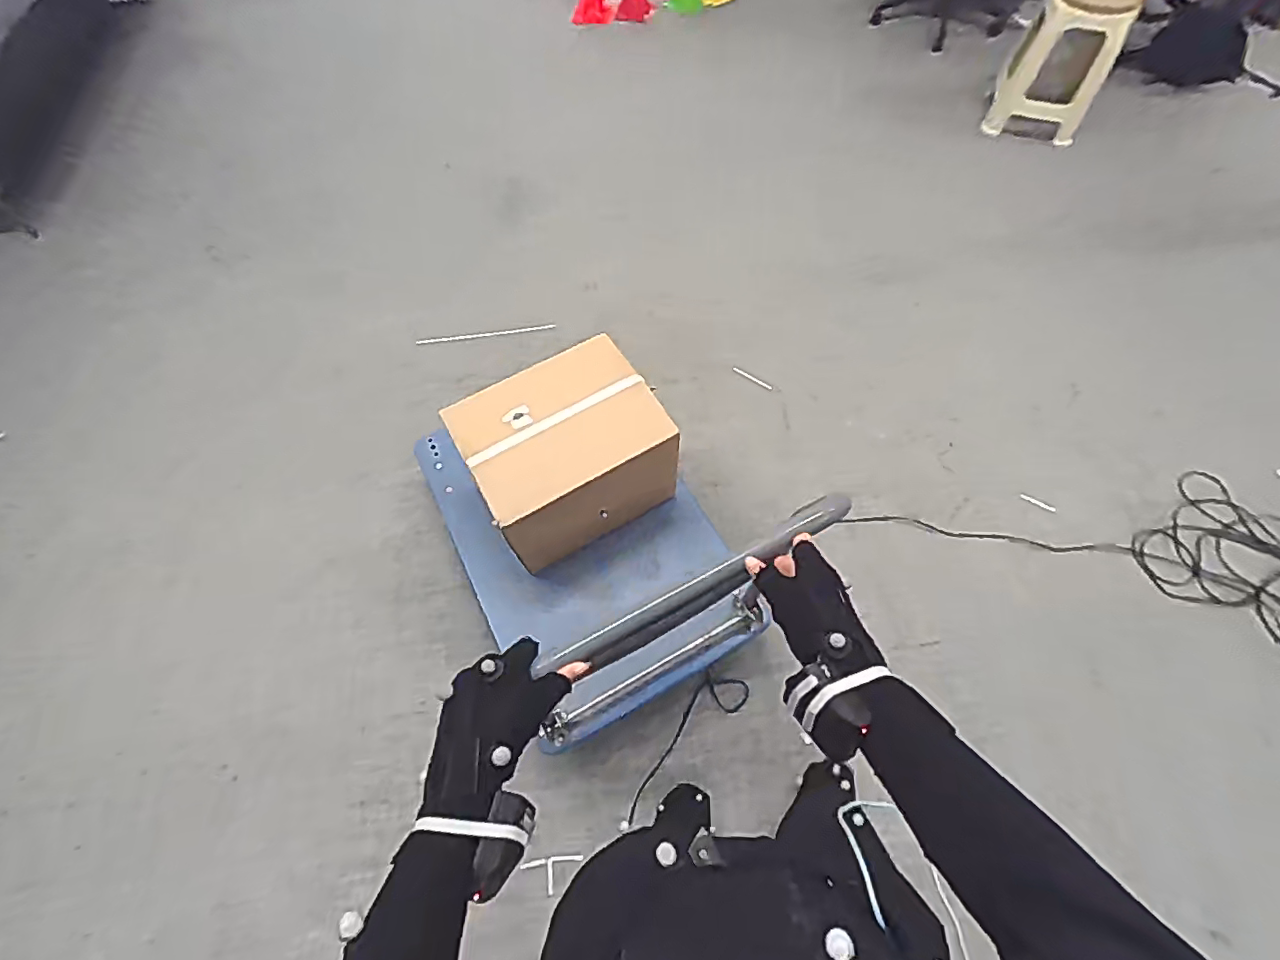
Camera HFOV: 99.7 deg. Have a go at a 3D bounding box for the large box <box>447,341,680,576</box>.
[{"bbox_3d":[-0.156,-0.040,1.254,0.408,0.320,0.320,-29,65,-11],"label":"large box"}]
